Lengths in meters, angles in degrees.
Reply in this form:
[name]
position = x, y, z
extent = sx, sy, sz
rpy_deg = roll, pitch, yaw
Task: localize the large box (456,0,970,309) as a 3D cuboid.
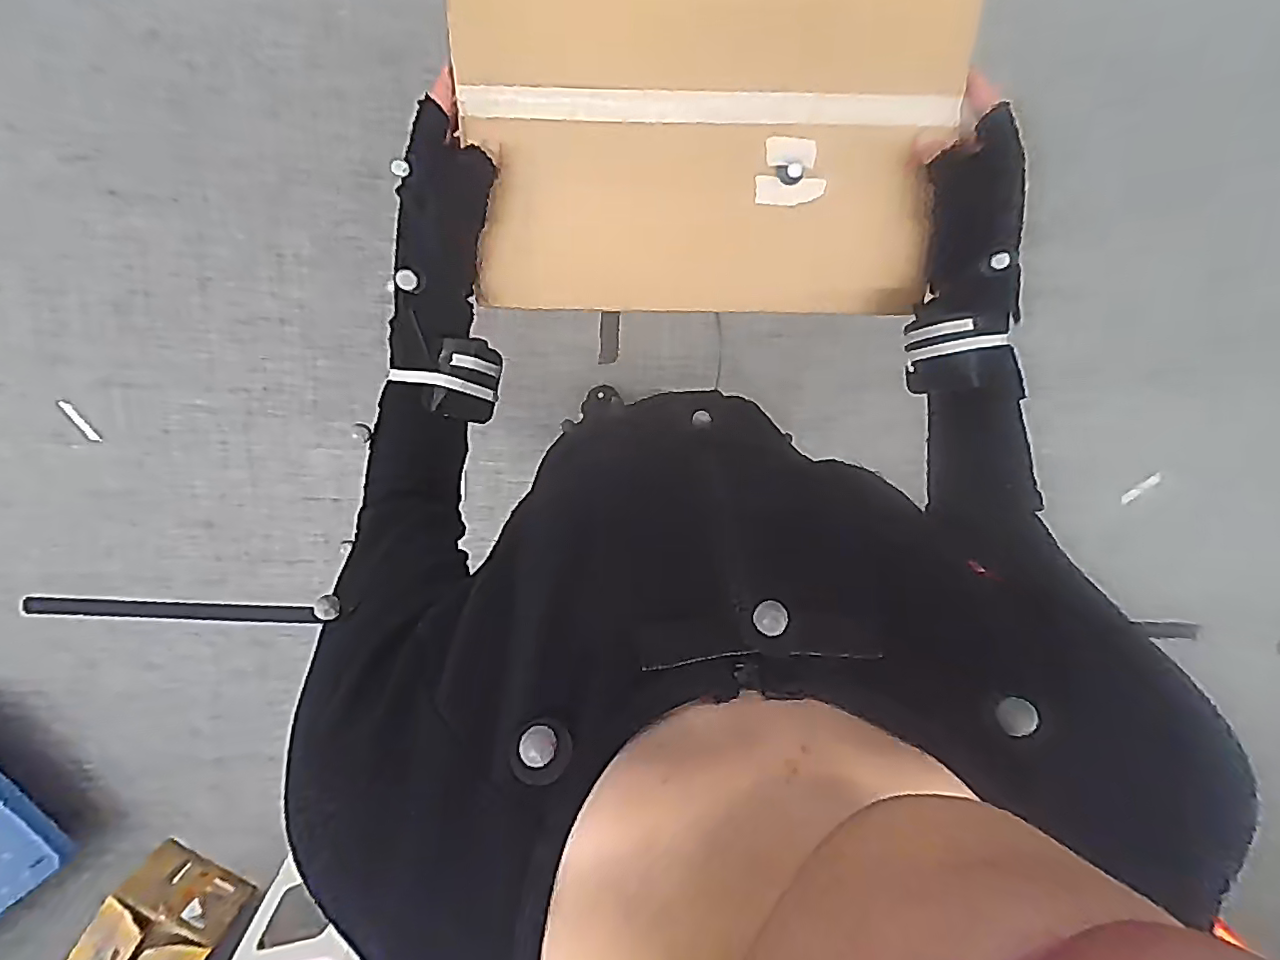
[large box]
position = 0.051, -0.357, 0.578
extent = 0.408, 0.320, 0.320
rpy_deg = 0, 112, -3
